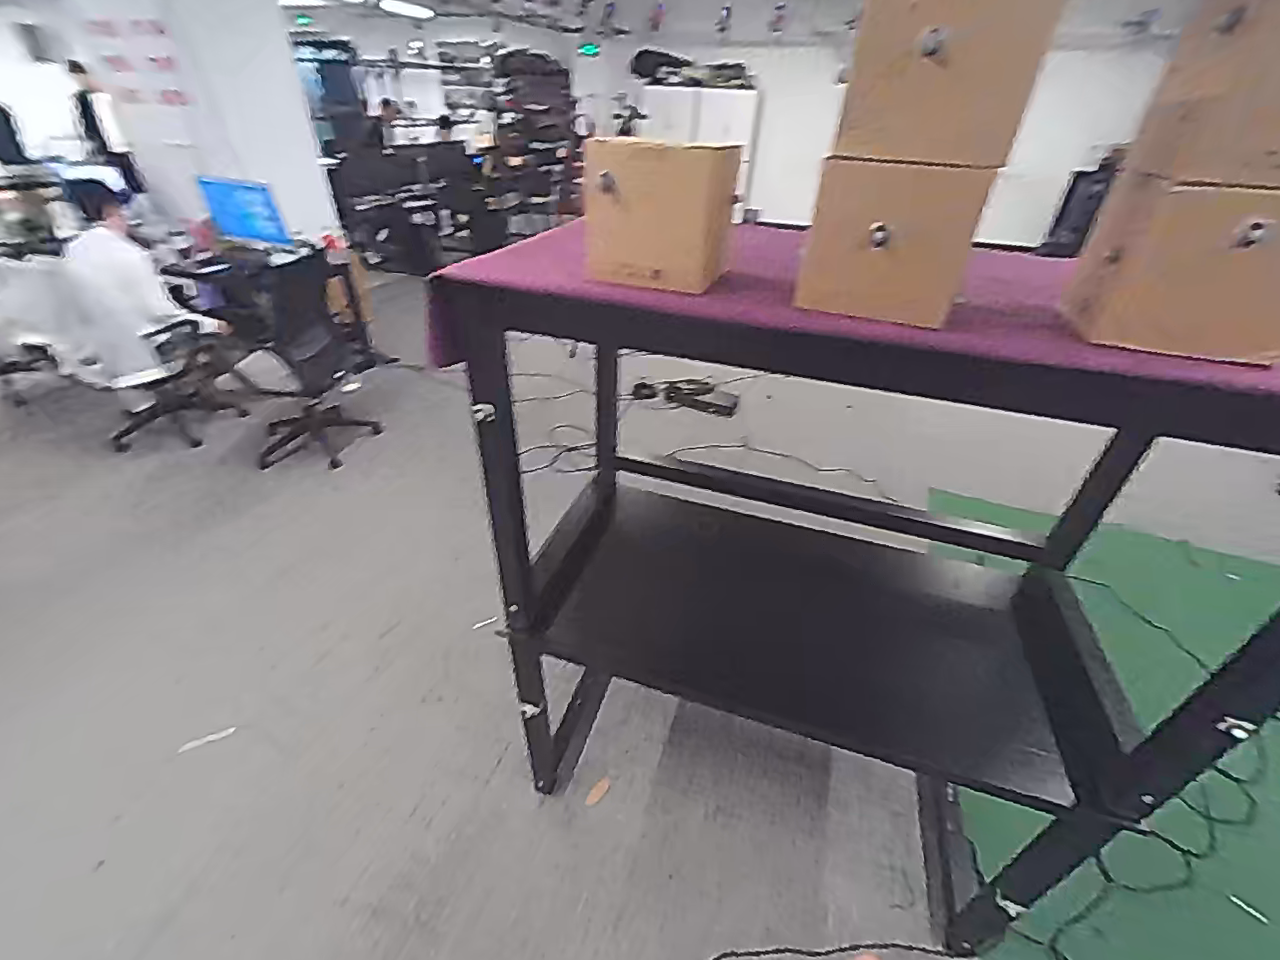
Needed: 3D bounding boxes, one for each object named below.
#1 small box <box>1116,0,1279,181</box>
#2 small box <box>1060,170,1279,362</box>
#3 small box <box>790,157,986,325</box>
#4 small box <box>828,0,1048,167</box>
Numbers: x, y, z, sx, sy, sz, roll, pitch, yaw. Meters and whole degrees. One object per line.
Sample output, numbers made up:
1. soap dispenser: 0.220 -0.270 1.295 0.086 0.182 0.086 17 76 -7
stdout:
1. small box: 0.618 -0.385 0.523 0.168 0.176 0.179 13 36 17
2. small box: 0.613 -0.245 0.609 0.179 0.176 0.168 14 36 17
3. small box: 0.302 -0.305 0.679 0.179 0.176 0.168 14 36 19
4. small box: 0.313 -0.443 0.591 0.179 0.176 0.168 13 36 17
